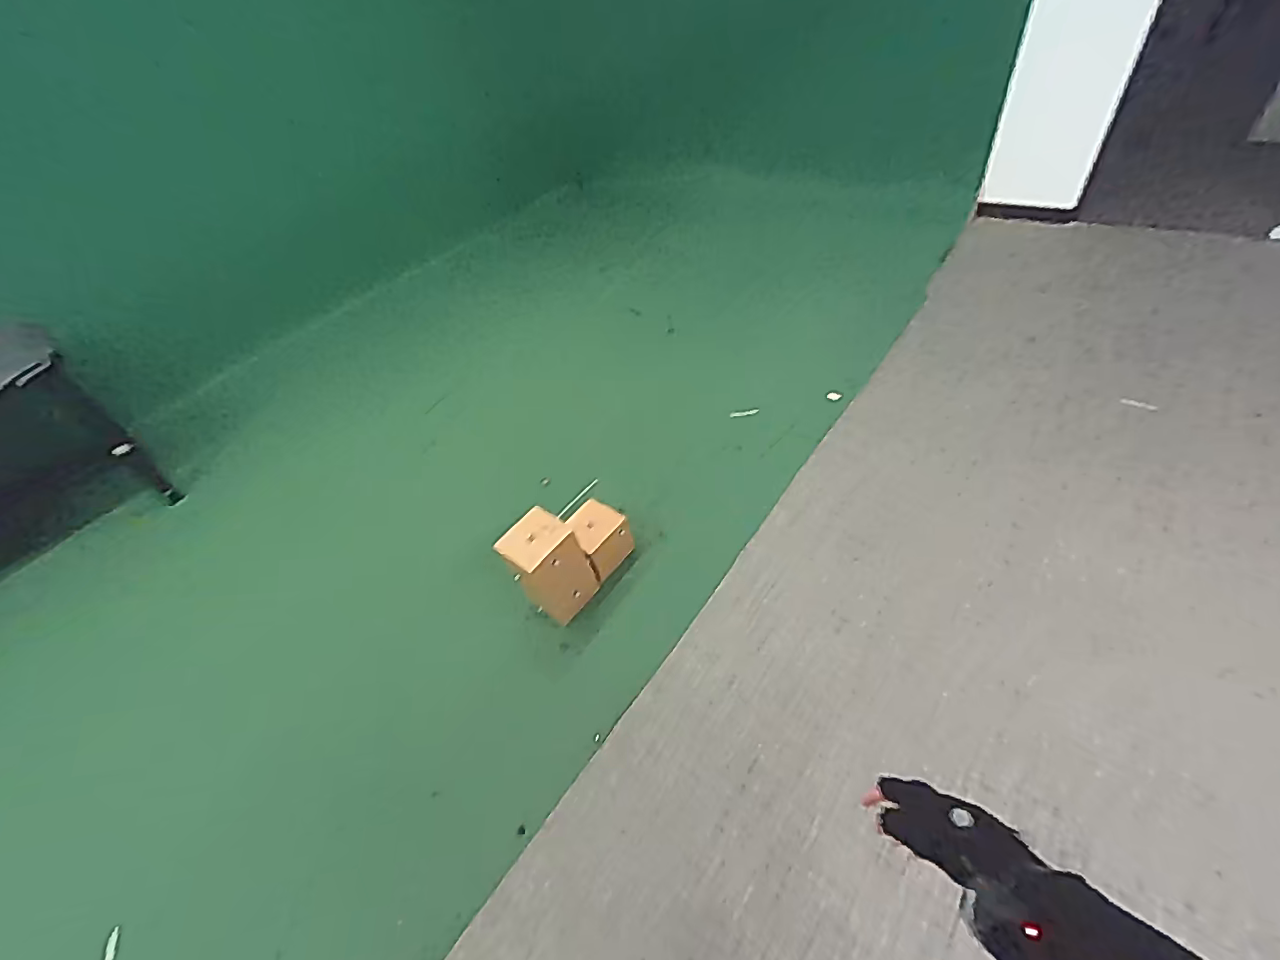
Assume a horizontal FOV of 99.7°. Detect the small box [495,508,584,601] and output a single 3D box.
[{"bbox_3d":[-0.287,0.222,1.590,0.168,0.176,0.179,27,58,31],"label":"small box"}]
